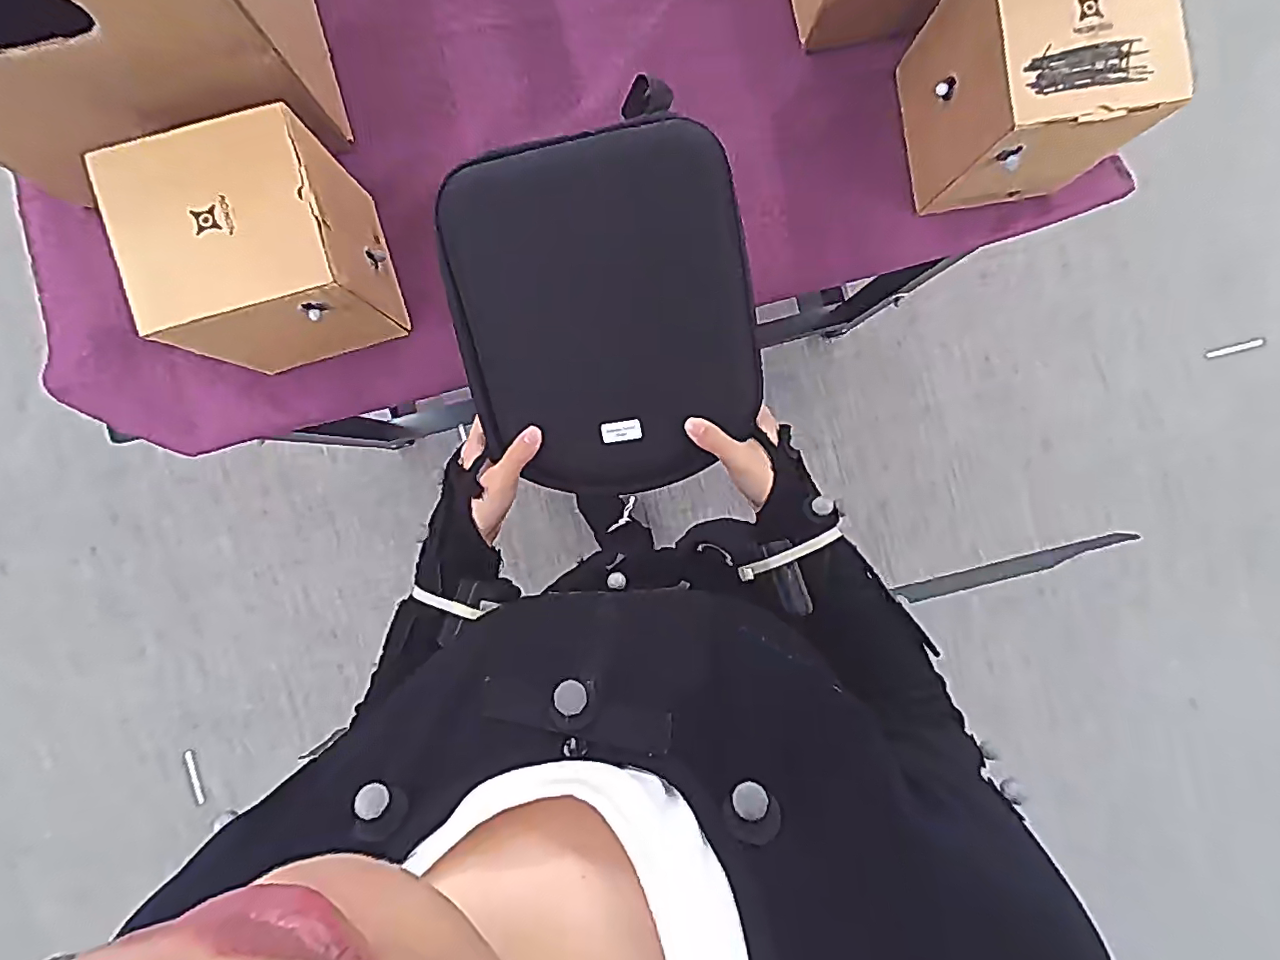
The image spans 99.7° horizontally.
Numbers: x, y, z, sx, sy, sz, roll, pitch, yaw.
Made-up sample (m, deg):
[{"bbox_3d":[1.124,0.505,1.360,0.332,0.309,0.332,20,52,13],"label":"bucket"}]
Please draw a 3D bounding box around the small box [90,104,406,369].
[{"bbox_3d":[-0.372,-0.225,0.547,0.179,0.176,0.168,-17,90,-2],"label":"small box"}]

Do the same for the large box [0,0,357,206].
[{"bbox_3d":[-0.515,-0.533,0.467,0.320,0.320,0.408,-16,94,-3],"label":"large box"}]
